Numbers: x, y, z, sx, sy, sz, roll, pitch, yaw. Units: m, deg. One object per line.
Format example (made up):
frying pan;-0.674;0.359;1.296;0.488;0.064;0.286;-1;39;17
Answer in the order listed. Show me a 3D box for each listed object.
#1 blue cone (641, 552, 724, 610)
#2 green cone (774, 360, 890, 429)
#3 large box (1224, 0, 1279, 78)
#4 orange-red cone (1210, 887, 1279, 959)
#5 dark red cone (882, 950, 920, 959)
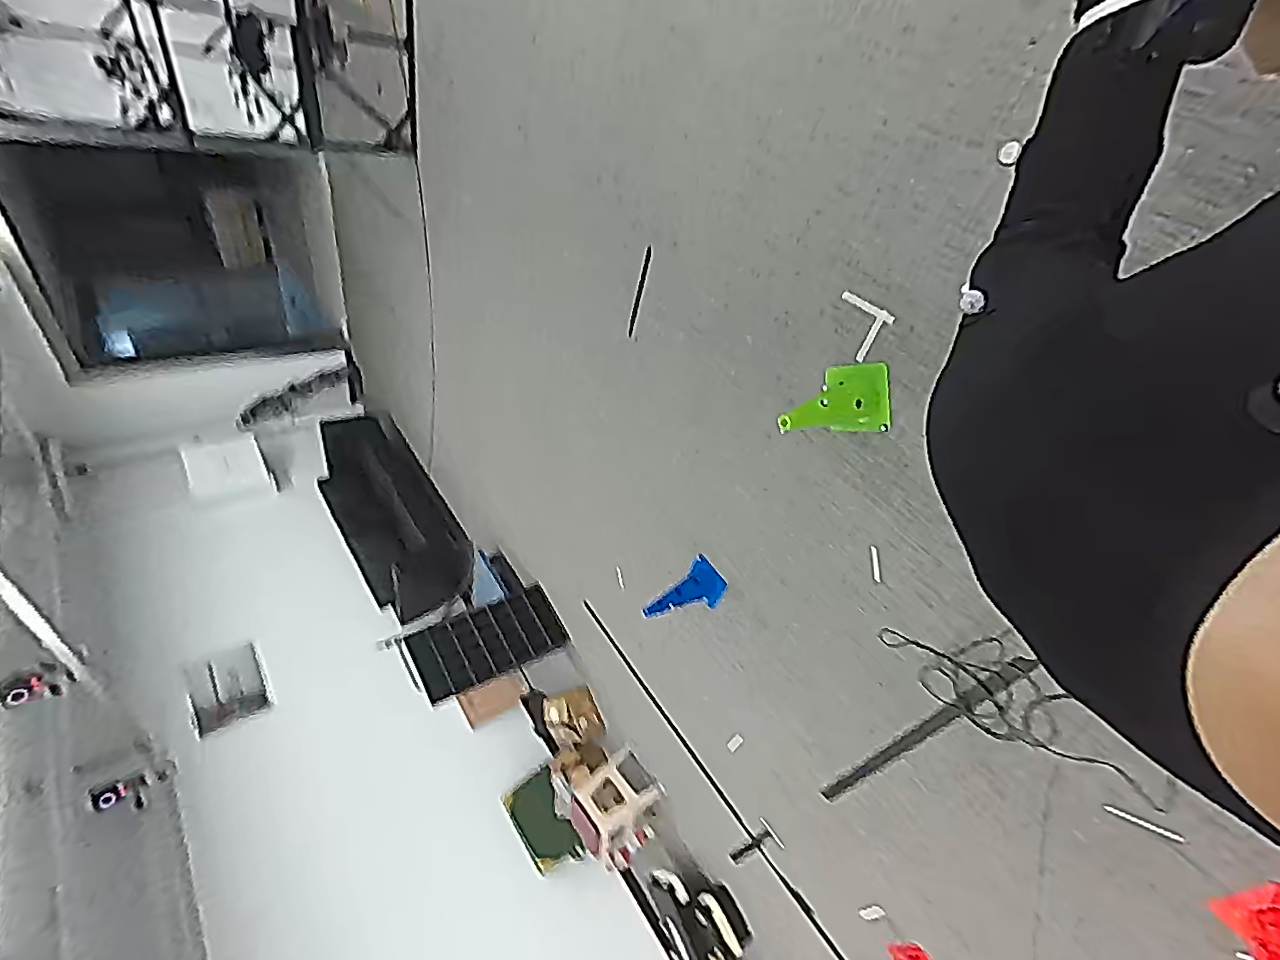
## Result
blue cone;0.167;0.484;2.348;0.192;0.380;0.193;51;140;27
green cone;0.514;-0.209;1.523;0.202;0.368;0.200;8;112;53
large box;0.575;-0.439;0.226;0.408;0.320;0.320;17;120;46
orange-red cone;1.286;1.040;1.067;0.198;0.360;0.199;45;136;30
dark red cone;0.912;1.924;1.945;0.201;0.394;0.202;53;141;25
